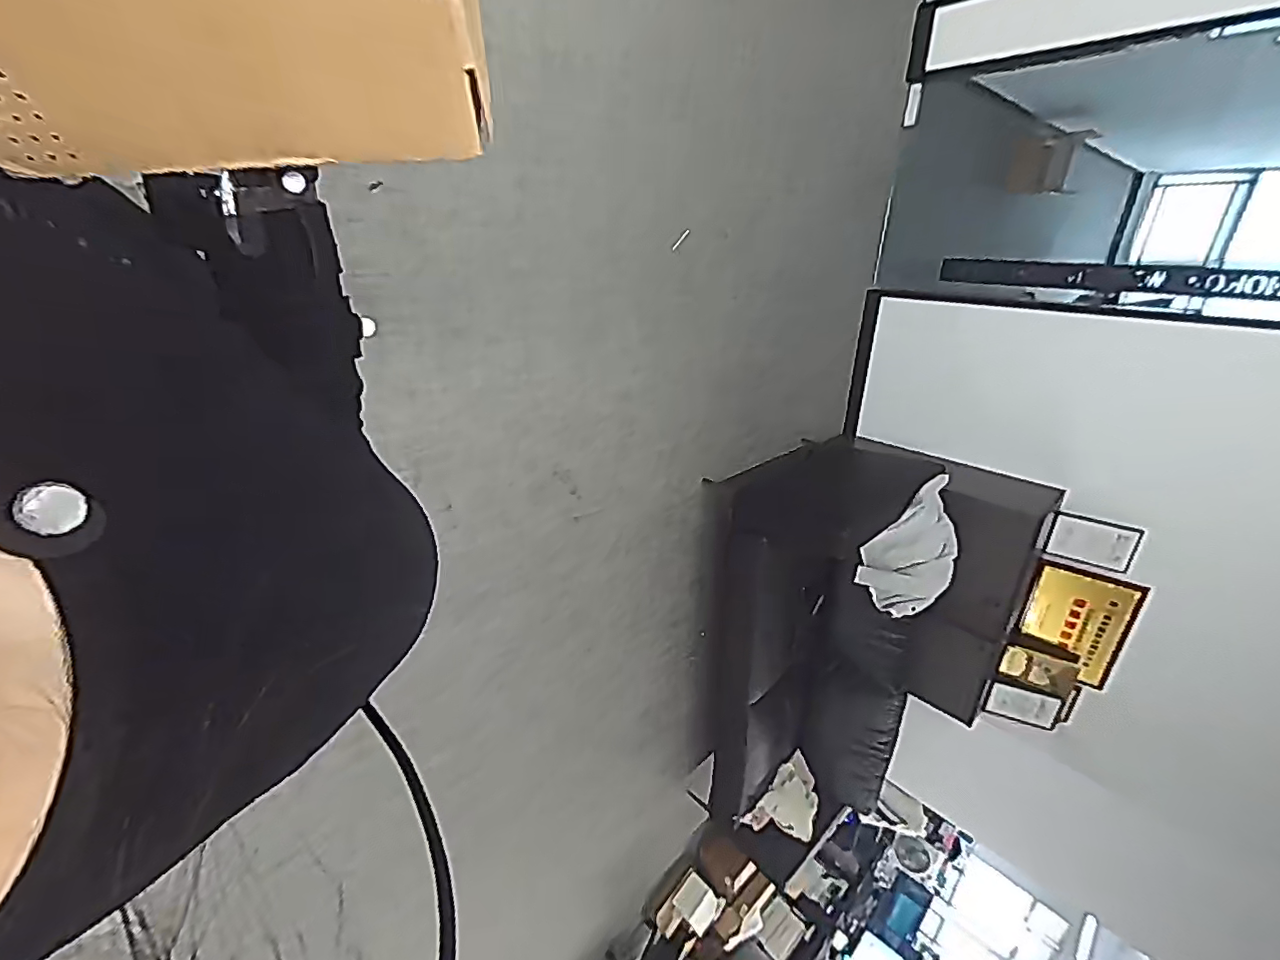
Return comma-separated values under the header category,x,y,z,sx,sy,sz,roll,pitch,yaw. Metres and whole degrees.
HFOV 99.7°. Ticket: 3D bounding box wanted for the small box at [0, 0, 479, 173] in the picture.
category,x,y,z,sx,sy,sz,roll,pitch,yaw
small box,-0.159,-0.230,0.179,0.176,0.179,0.168,-7,155,-9
